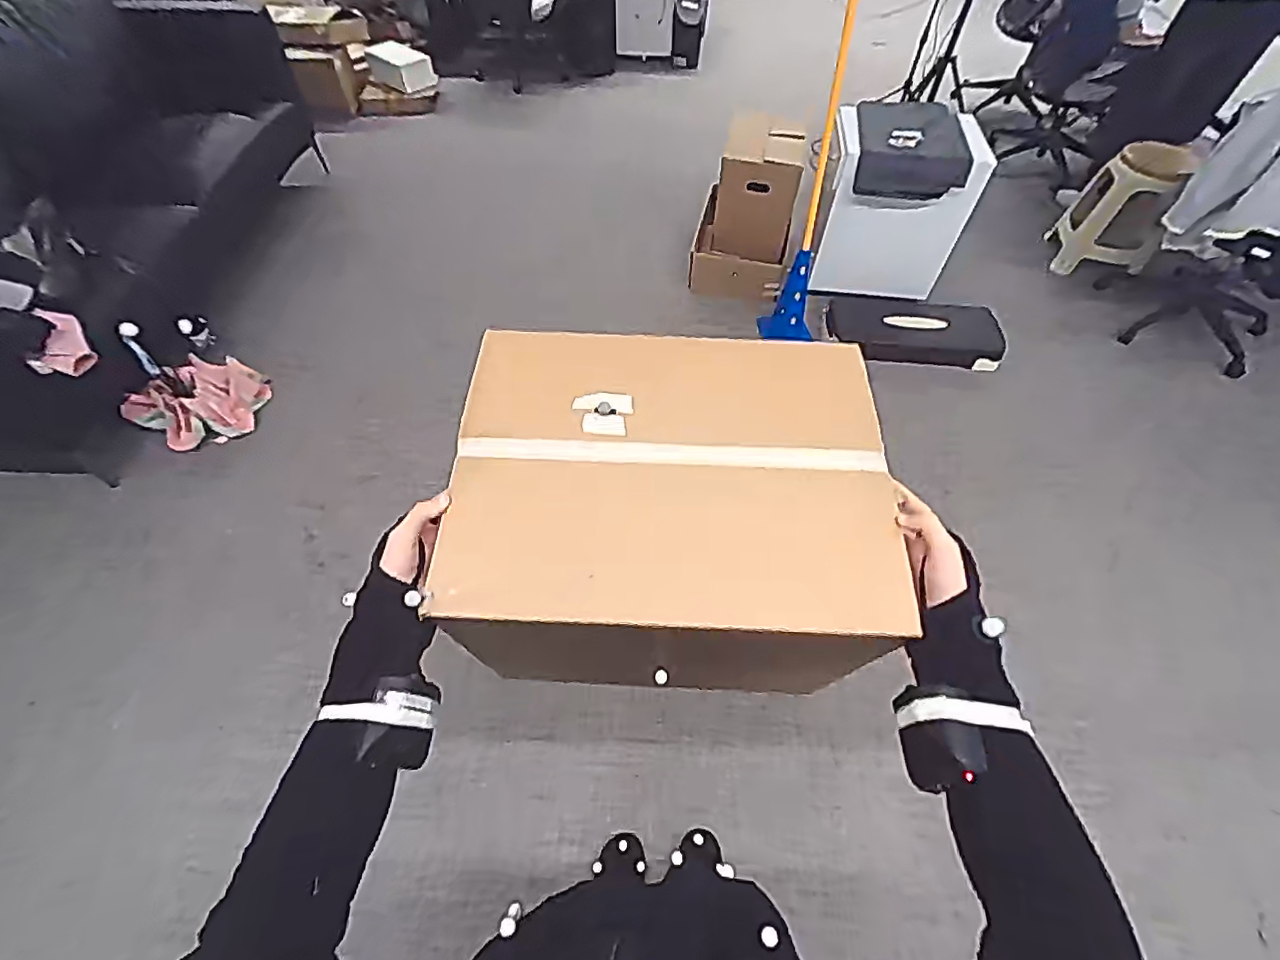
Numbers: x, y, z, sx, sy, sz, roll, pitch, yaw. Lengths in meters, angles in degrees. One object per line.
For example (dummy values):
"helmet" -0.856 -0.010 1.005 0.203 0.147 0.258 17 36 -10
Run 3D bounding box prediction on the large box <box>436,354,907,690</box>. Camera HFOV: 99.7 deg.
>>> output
"large box" 0.032 0.069 0.652 0.408 0.320 0.320 2 60 1
